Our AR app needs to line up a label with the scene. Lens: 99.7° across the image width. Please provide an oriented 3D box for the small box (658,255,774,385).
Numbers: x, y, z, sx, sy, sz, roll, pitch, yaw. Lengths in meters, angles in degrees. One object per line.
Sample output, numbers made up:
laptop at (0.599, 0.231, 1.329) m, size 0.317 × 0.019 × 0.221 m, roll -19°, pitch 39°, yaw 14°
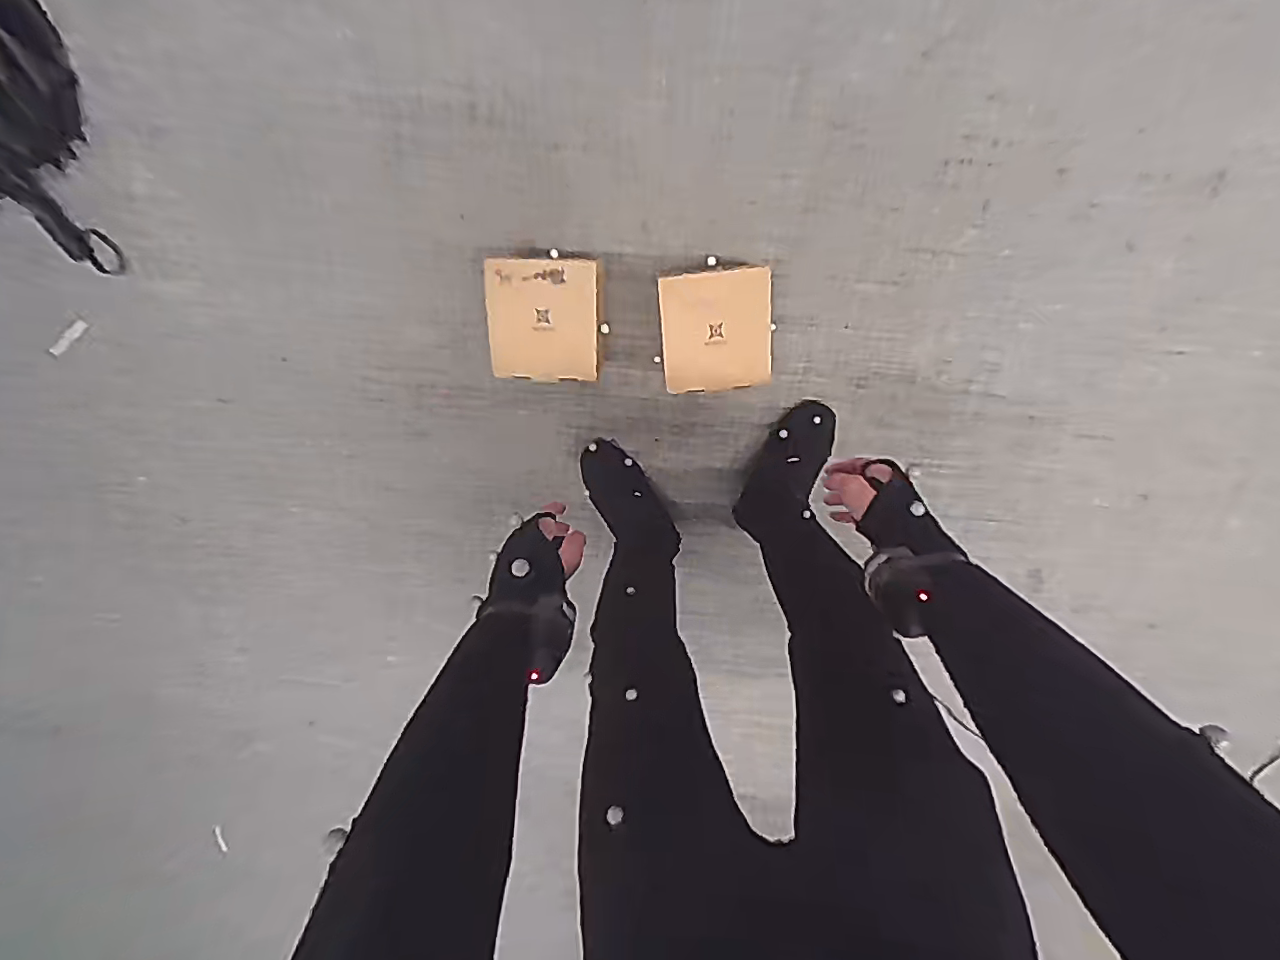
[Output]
small box at (0.118, -0.263, 0.872) m, size 0.168 × 0.176 × 0.179 m, roll -5°, pitch 112°, yaw 3°

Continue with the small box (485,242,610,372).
small box at (-0.138, -0.283, 0.871) m, size 0.168 × 0.176 × 0.179 m, roll 3°, pitch 114°, yaw 1°
